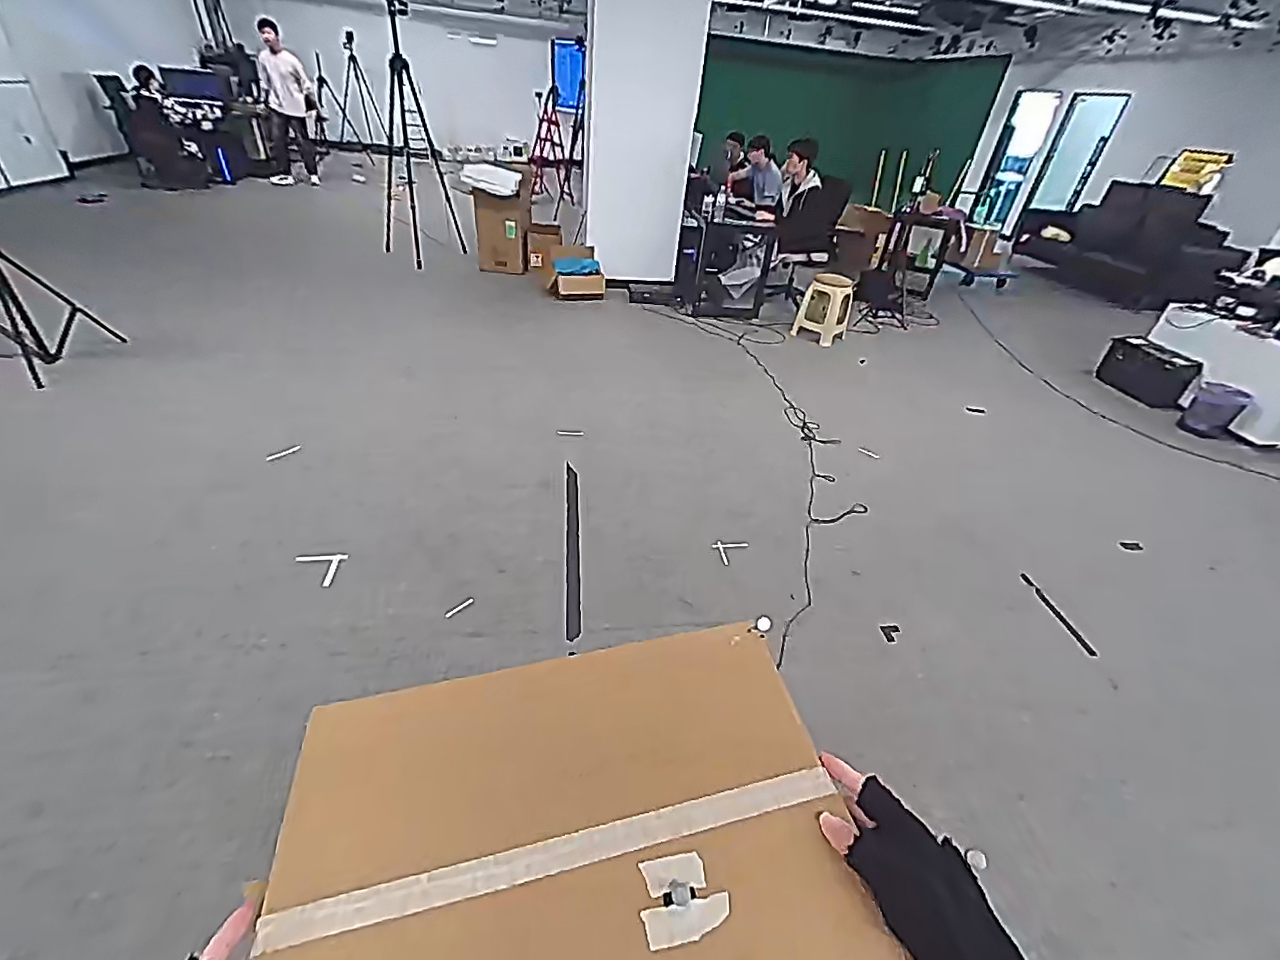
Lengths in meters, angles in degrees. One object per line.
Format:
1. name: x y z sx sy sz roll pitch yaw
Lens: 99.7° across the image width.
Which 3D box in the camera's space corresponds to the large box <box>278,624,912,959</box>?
1. large box: -0.049 0.384 0.492 0.408 0.320 0.320 -8 41 -11
